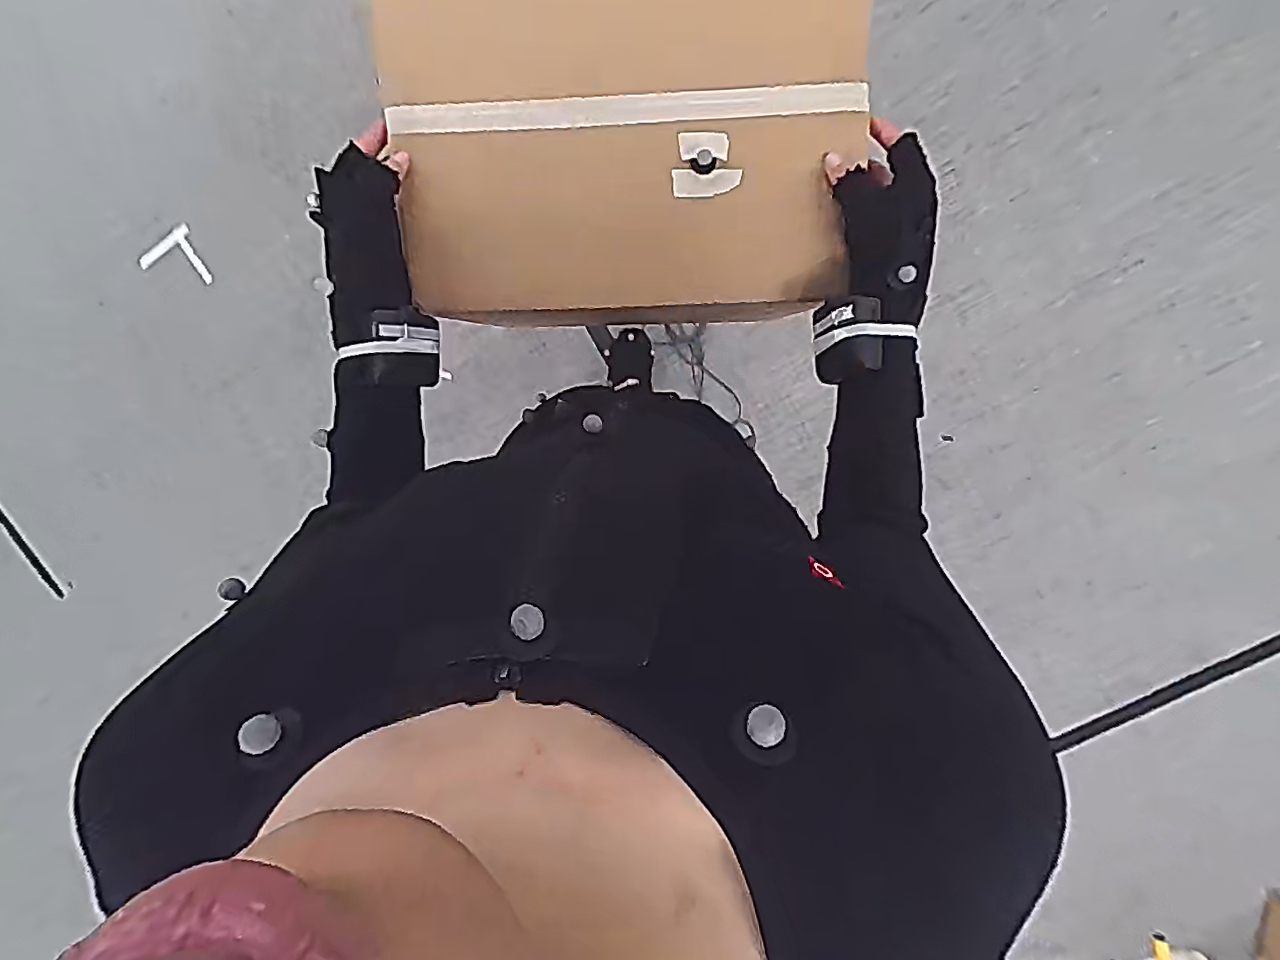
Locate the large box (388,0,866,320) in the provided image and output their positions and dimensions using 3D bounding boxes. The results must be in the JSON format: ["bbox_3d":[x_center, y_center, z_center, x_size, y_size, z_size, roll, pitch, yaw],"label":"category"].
[{"bbox_3d":[-0.009,-0.357,0.609,0.408,0.320,0.320,-1,104,2],"label":"large box"}]
